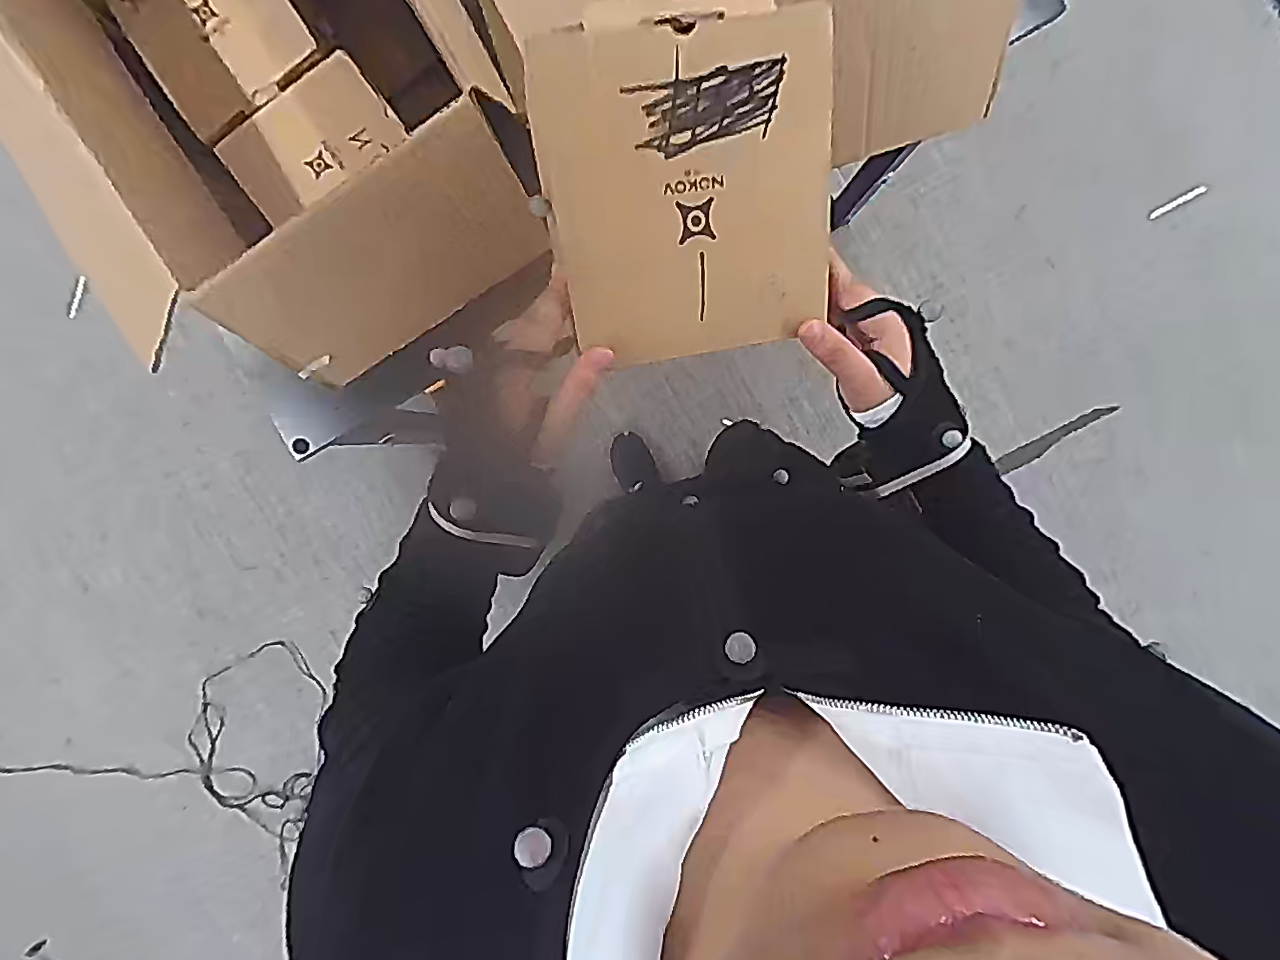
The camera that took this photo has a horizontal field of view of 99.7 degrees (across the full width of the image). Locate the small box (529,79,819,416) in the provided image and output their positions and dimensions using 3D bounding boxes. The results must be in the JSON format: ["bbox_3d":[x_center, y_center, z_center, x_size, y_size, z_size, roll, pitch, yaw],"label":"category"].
[{"bbox_3d":[0.014,-0.165,0.399,0.168,0.176,0.179,-11,117,-7],"label":"small box"}]
